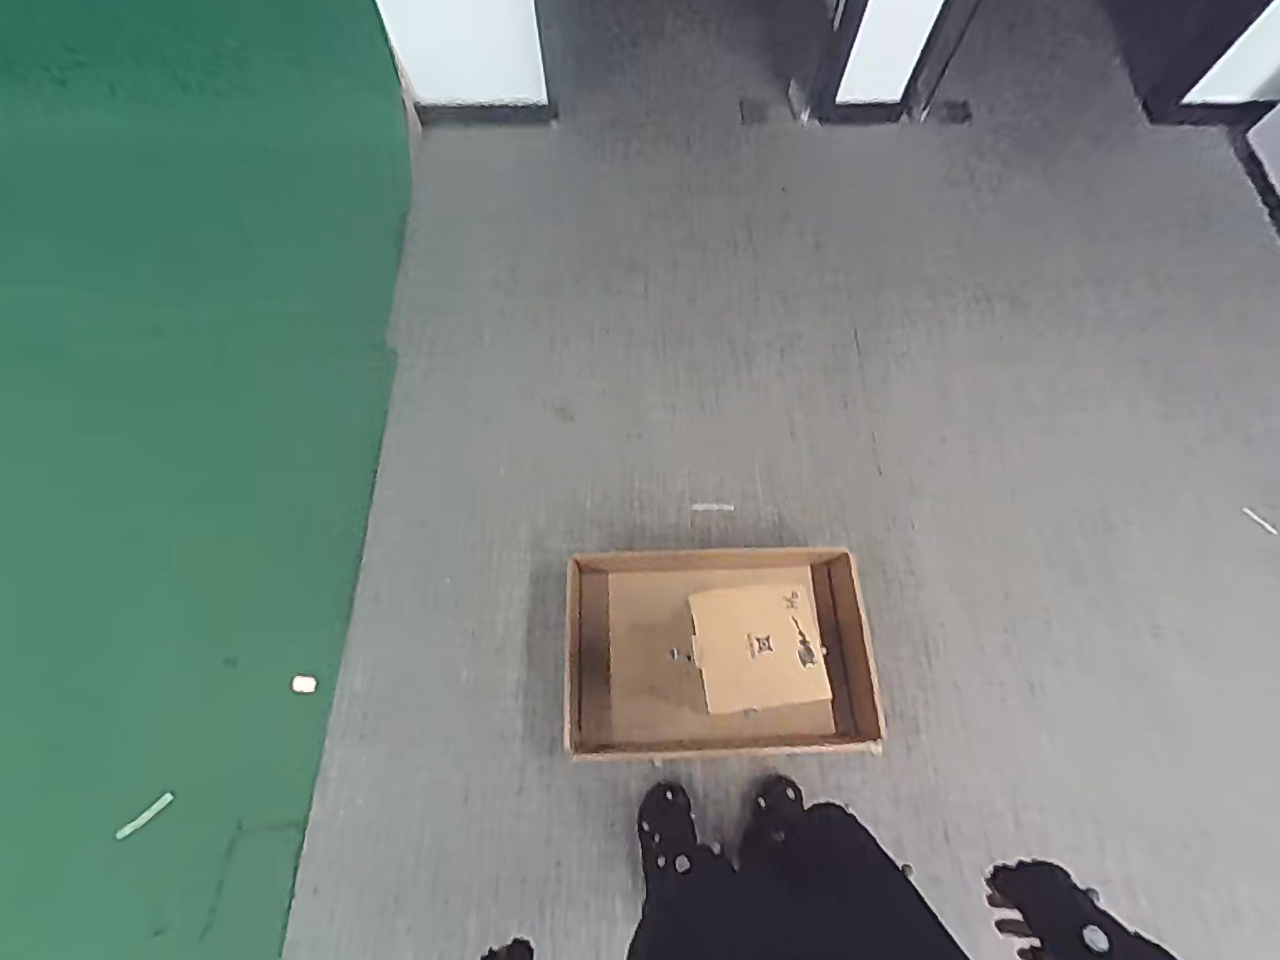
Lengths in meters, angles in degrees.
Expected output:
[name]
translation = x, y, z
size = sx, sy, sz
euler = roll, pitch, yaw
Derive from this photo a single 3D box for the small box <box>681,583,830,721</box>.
[small box]
translation = 0.164, 0.272, 0.841
size = 0.179, 0.176, 0.168
euler = -8, 65, -6
